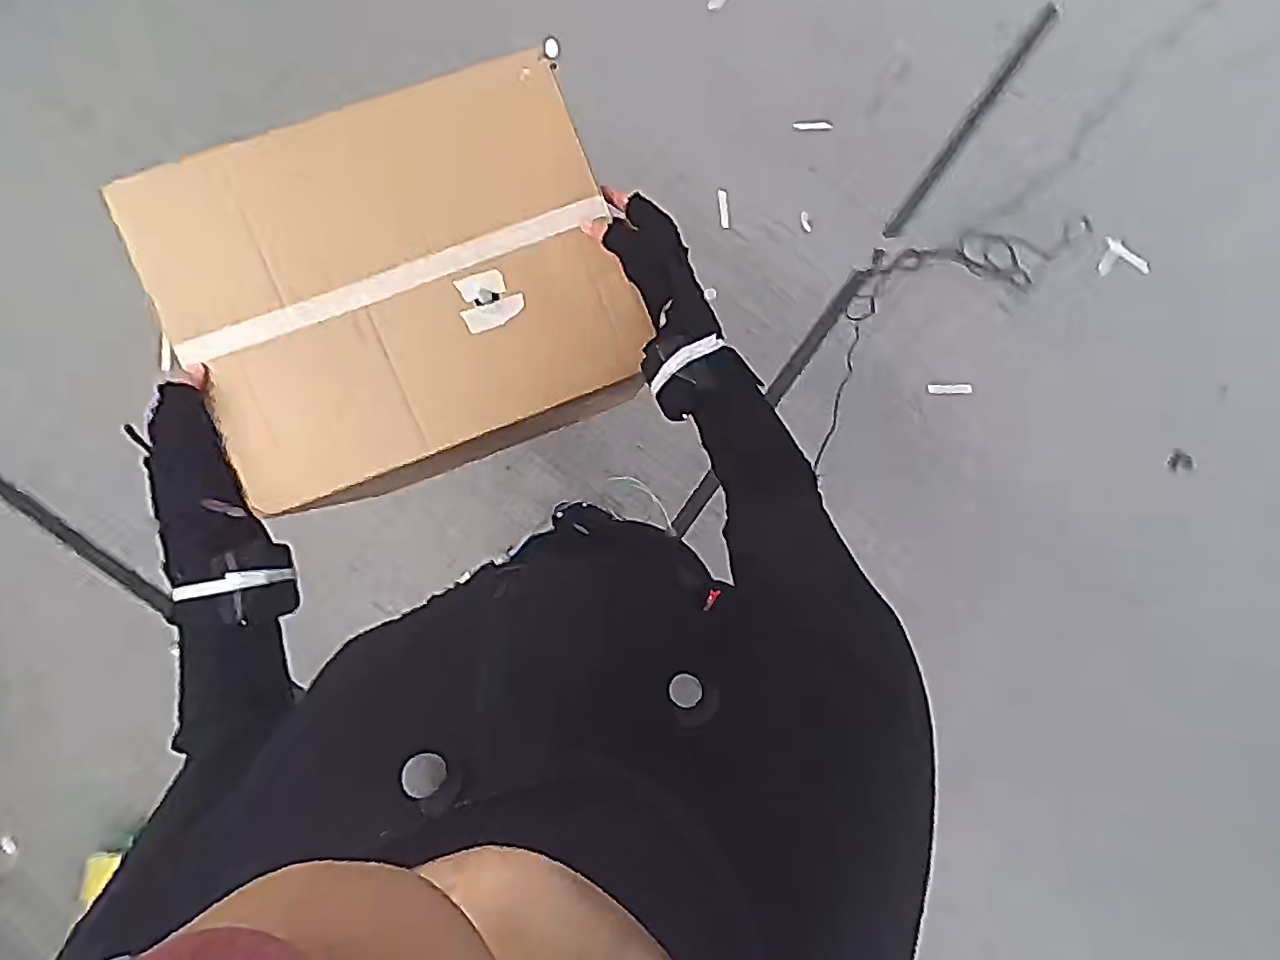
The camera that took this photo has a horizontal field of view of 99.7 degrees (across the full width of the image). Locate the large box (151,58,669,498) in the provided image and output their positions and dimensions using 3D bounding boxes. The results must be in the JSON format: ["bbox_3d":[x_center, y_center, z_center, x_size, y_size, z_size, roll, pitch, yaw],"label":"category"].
[{"bbox_3d":[-0.223,-0.198,0.659,0.408,0.320,0.320,-21,95,-5],"label":"large box"}]
